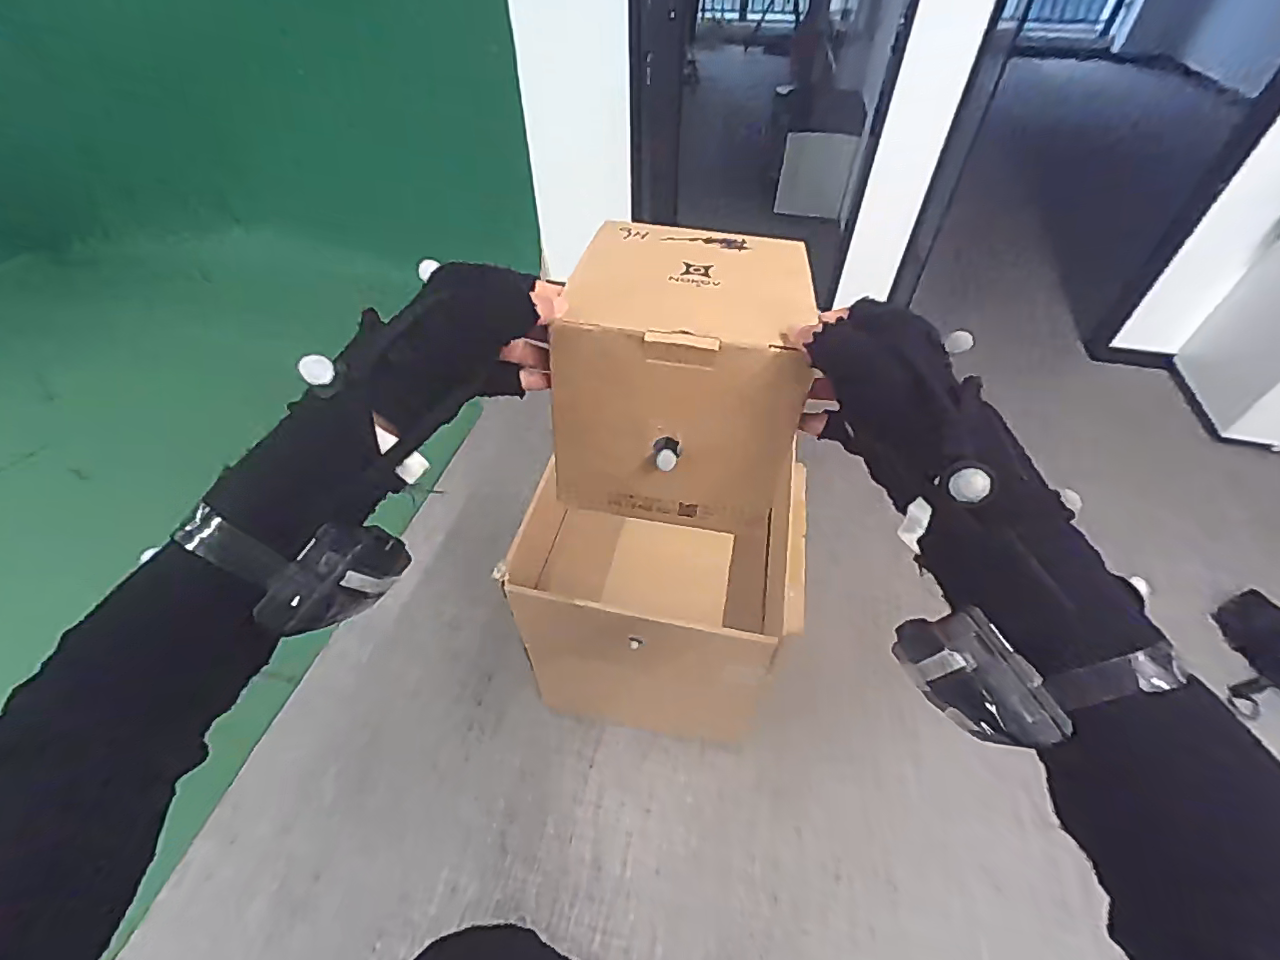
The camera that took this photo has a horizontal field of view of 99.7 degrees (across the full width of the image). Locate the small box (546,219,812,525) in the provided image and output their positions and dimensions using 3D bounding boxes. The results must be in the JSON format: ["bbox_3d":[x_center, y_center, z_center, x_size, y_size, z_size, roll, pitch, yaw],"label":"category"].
[{"bbox_3d":[0.032,-0.086,0.438,0.168,0.176,0.179,9,46,4],"label":"small box"}]
